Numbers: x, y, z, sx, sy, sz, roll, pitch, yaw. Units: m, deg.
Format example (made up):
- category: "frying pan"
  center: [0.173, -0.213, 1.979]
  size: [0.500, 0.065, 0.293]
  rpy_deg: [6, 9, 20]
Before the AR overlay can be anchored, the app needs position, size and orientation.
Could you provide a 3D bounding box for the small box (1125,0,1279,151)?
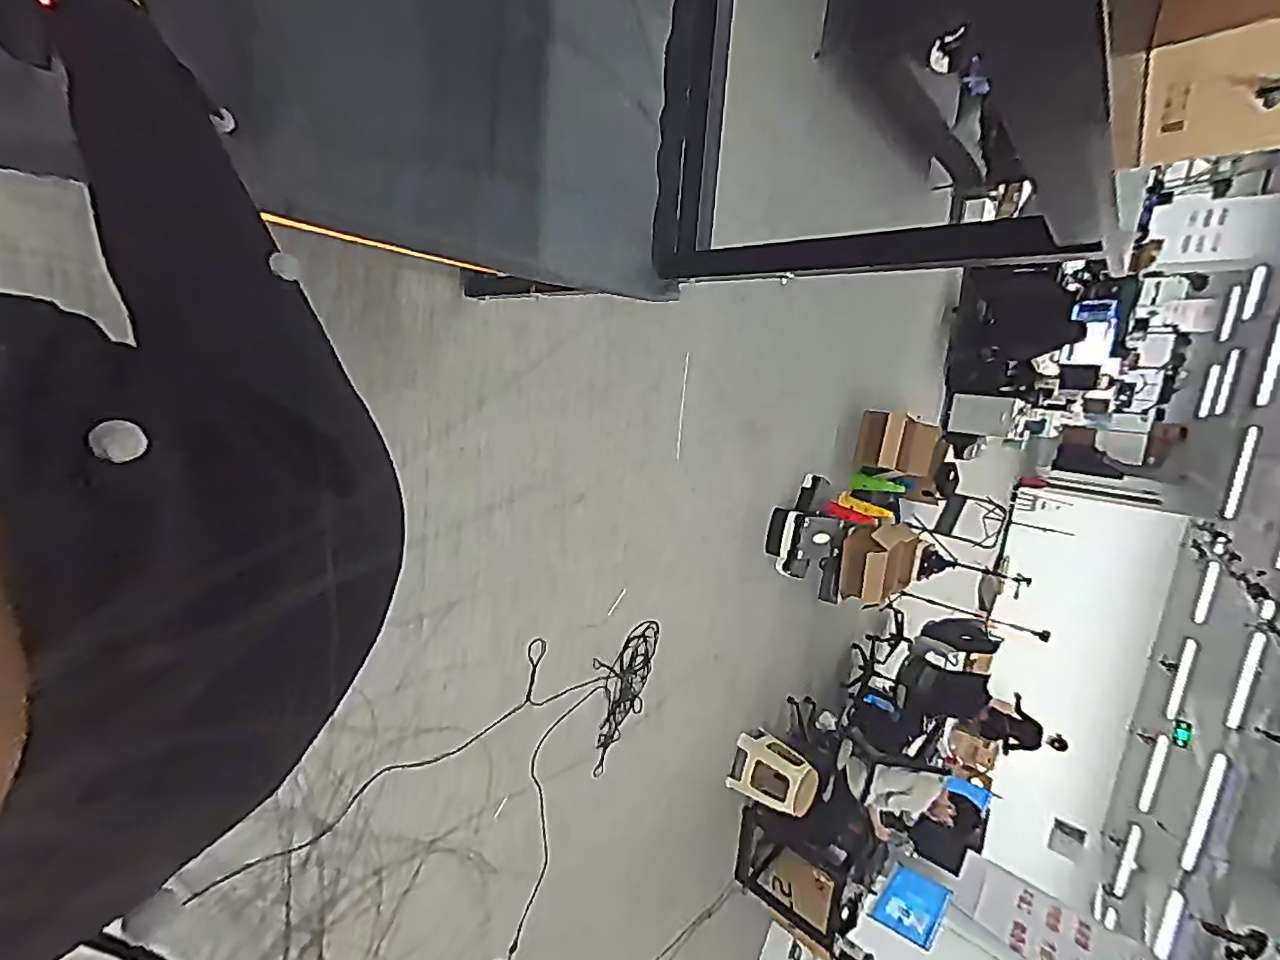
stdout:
- category: "small box"
  center: [0.514, -0.400, 0.428]
  size: [0.168, 0.176, 0.179]
  rpy_deg: [11, 92, -50]
